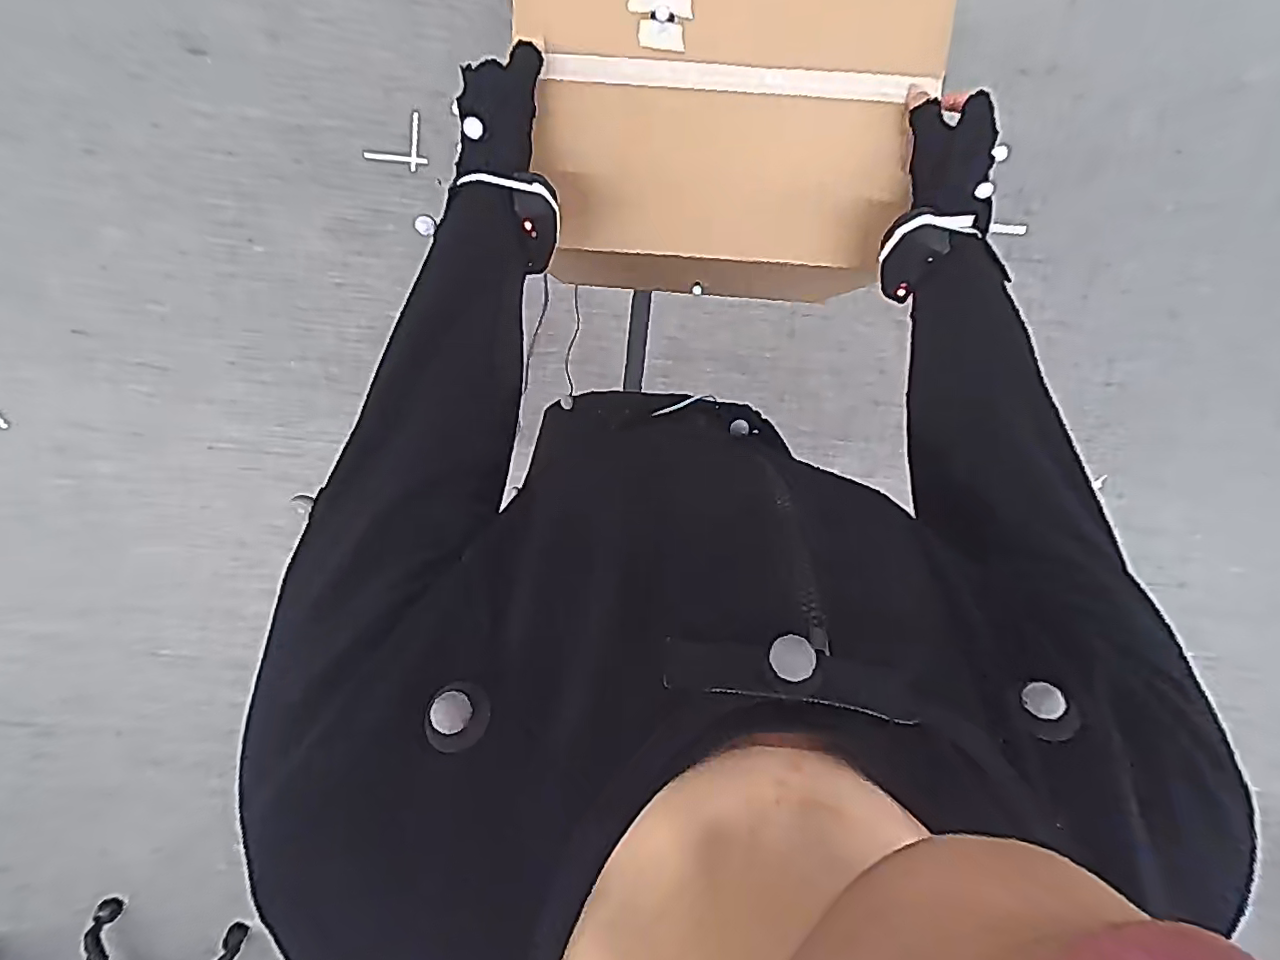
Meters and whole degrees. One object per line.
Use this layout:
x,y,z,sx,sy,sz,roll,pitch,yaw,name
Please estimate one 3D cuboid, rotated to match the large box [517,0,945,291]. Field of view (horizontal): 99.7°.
0.085,-0.416,0.665,0.408,0.320,0.320,4,102,0,large box
